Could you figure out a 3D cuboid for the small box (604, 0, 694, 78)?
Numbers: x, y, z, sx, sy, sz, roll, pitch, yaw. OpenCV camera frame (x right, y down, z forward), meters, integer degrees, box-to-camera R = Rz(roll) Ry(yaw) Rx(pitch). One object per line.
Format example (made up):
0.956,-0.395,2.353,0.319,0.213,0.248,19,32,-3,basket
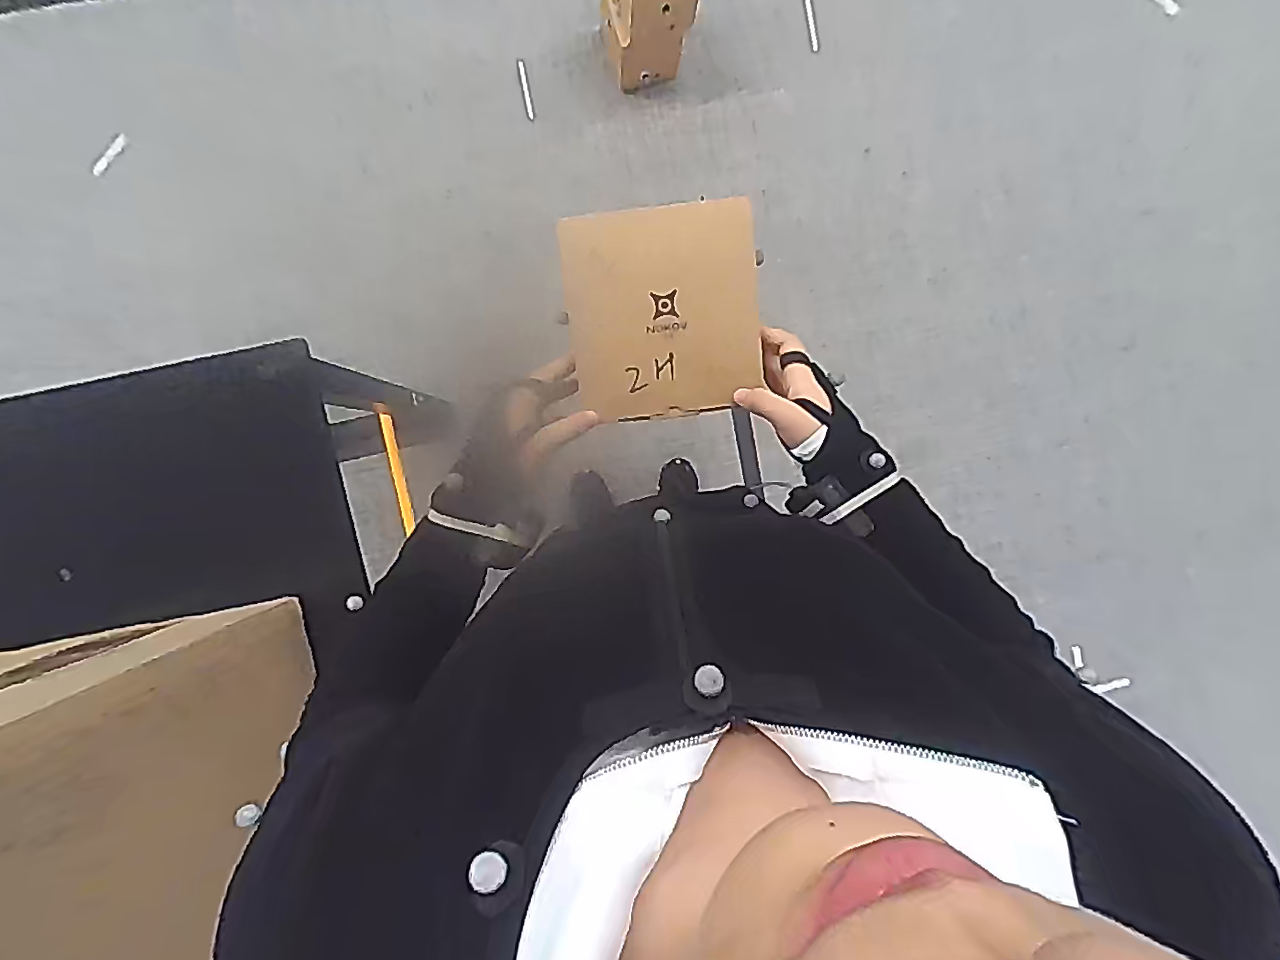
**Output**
0.014,-1.117,1.287,0.168,0.176,0.179,-19,95,-2,small box

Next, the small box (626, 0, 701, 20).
0.041,-1.113,1.124,0.168,0.176,0.179,-20,94,-2,small box
